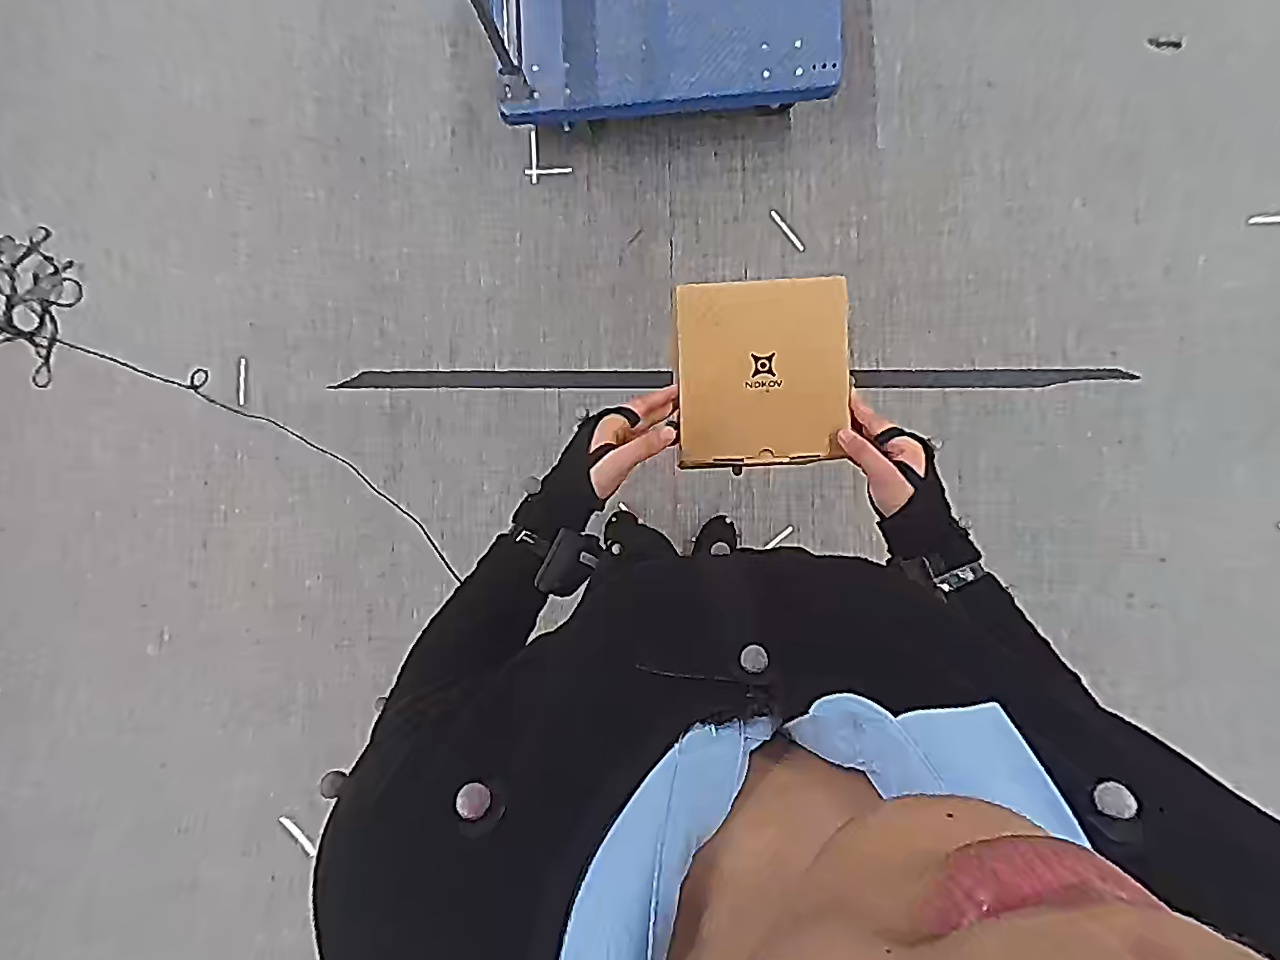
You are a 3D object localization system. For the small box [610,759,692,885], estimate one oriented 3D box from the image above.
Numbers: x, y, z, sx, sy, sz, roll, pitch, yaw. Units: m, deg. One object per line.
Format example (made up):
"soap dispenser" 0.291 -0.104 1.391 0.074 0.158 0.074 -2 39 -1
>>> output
"small box" 0.029 0.771 1.233 0.168 0.176 0.179 4 88 3

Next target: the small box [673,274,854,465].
"small box" 0.123 -0.109 0.598 0.168 0.176 0.179 -2 91 2
